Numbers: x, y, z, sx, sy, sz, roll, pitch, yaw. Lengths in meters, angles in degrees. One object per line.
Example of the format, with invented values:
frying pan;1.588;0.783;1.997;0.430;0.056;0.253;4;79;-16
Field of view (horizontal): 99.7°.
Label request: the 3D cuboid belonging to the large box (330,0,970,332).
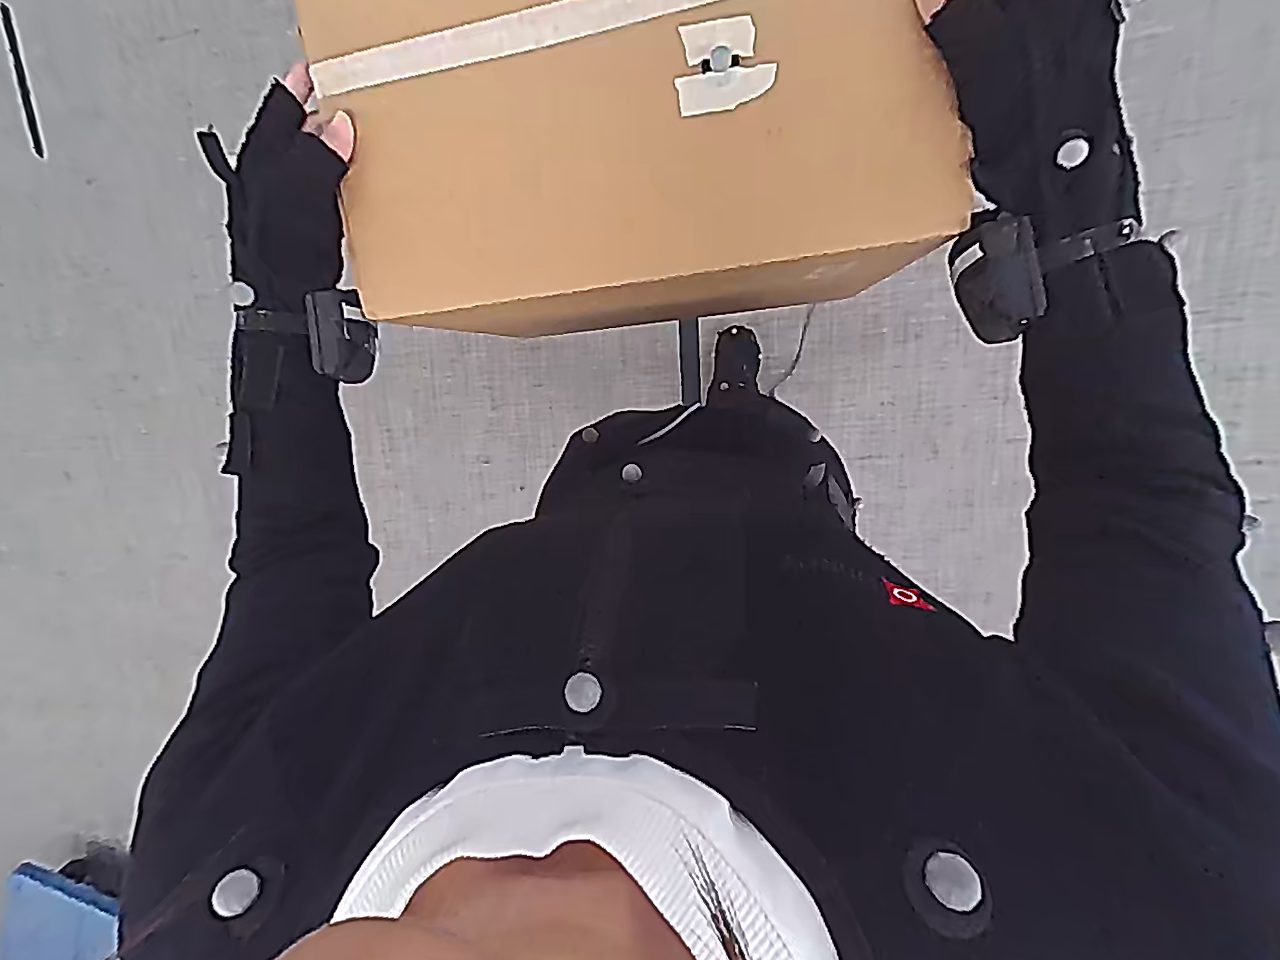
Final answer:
large box;0.010;-0.326;0.483;0.408;0.320;0.320;-5;102;10
